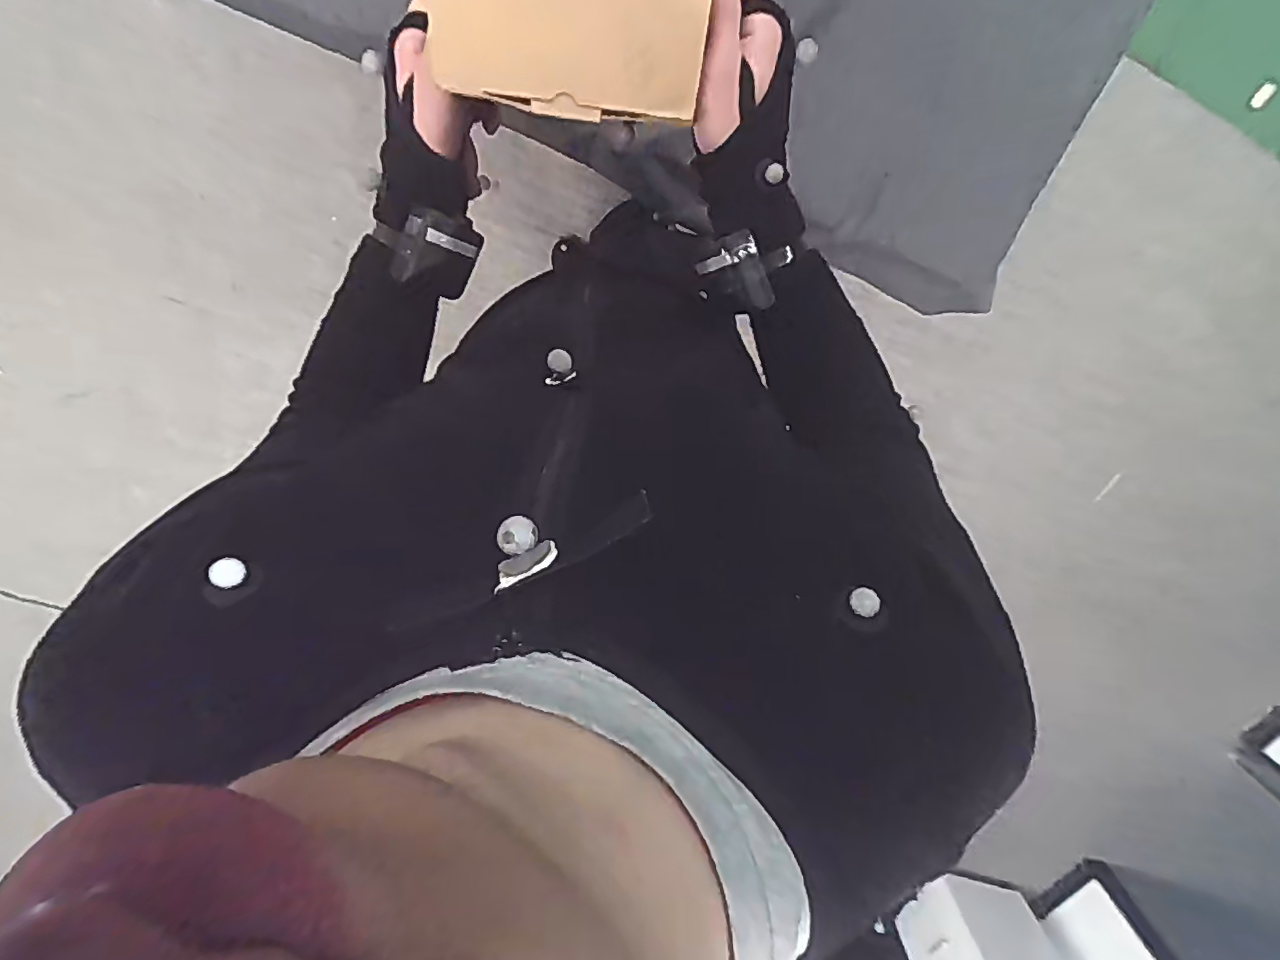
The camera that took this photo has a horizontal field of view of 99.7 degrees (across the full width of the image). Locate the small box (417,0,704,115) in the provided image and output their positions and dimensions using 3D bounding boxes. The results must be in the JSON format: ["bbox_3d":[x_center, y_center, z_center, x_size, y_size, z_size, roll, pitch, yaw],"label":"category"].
[{"bbox_3d":[-0.037,-0.350,0.349,0.168,0.176,0.179,6,122,-3],"label":"small box"}]
